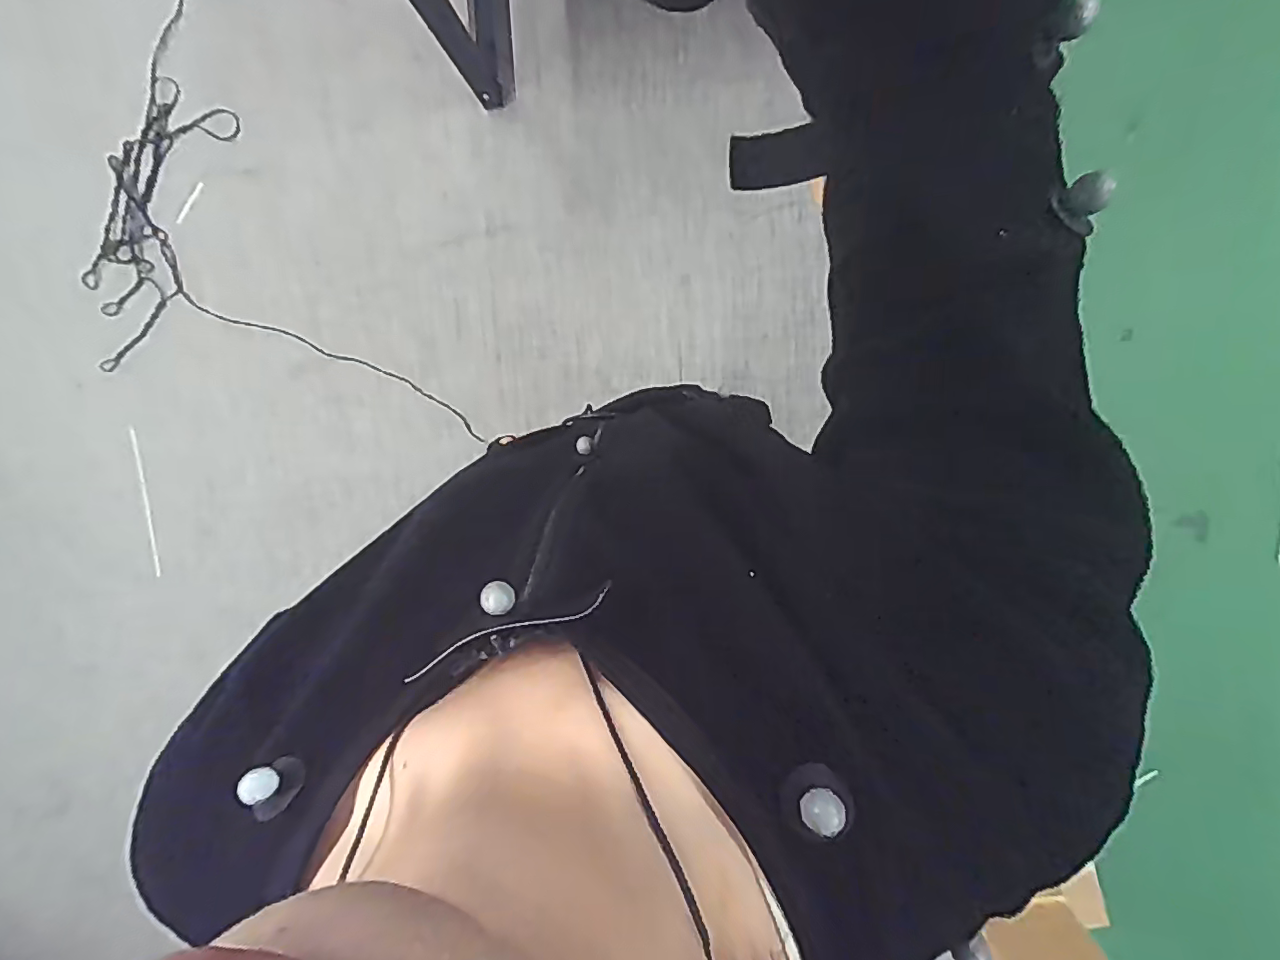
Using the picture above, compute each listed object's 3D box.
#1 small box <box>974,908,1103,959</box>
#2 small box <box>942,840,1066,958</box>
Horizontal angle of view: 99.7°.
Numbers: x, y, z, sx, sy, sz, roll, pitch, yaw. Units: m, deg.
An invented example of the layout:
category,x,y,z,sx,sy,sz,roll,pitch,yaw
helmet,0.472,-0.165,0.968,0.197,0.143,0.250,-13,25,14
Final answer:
category,x,y,z,sx,sy,sz,roll,pitch,yaw
small box,0.742,0.916,0.973,0.179,0.176,0.168,-10,95,7
small box,0.760,0.891,1.132,0.168,0.176,0.179,-11,95,7
